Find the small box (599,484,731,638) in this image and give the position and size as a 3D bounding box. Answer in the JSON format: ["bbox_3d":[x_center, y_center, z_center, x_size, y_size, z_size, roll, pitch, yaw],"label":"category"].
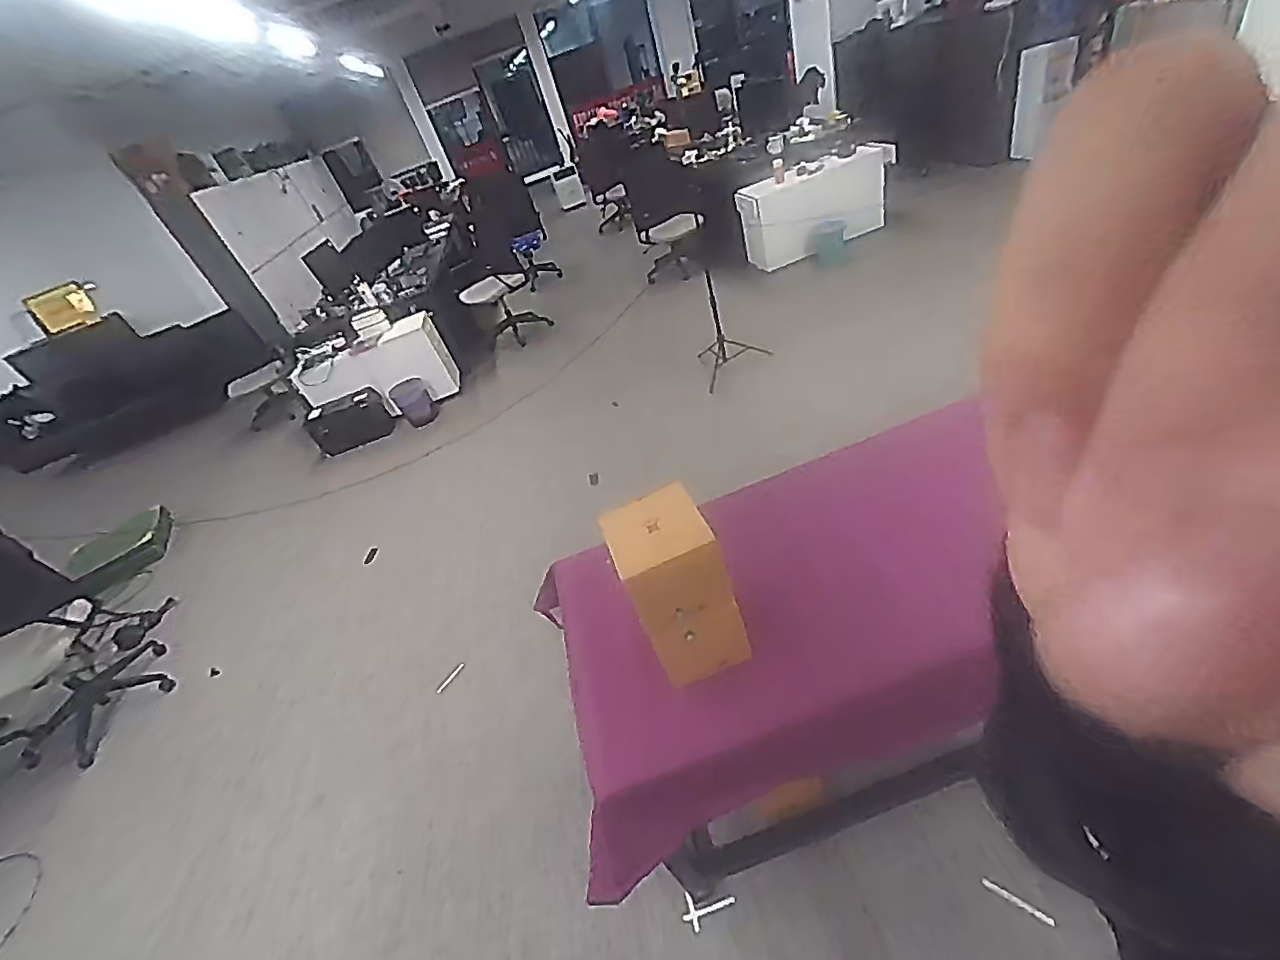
[{"bbox_3d":[0.043,0.144,0.959,0.168,0.176,0.179,-24,37,-3],"label":"small box"}]

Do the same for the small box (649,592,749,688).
[{"bbox_3d":[0.096,0.266,1.054,0.168,0.176,0.179,-23,36,-2],"label":"small box"}]
